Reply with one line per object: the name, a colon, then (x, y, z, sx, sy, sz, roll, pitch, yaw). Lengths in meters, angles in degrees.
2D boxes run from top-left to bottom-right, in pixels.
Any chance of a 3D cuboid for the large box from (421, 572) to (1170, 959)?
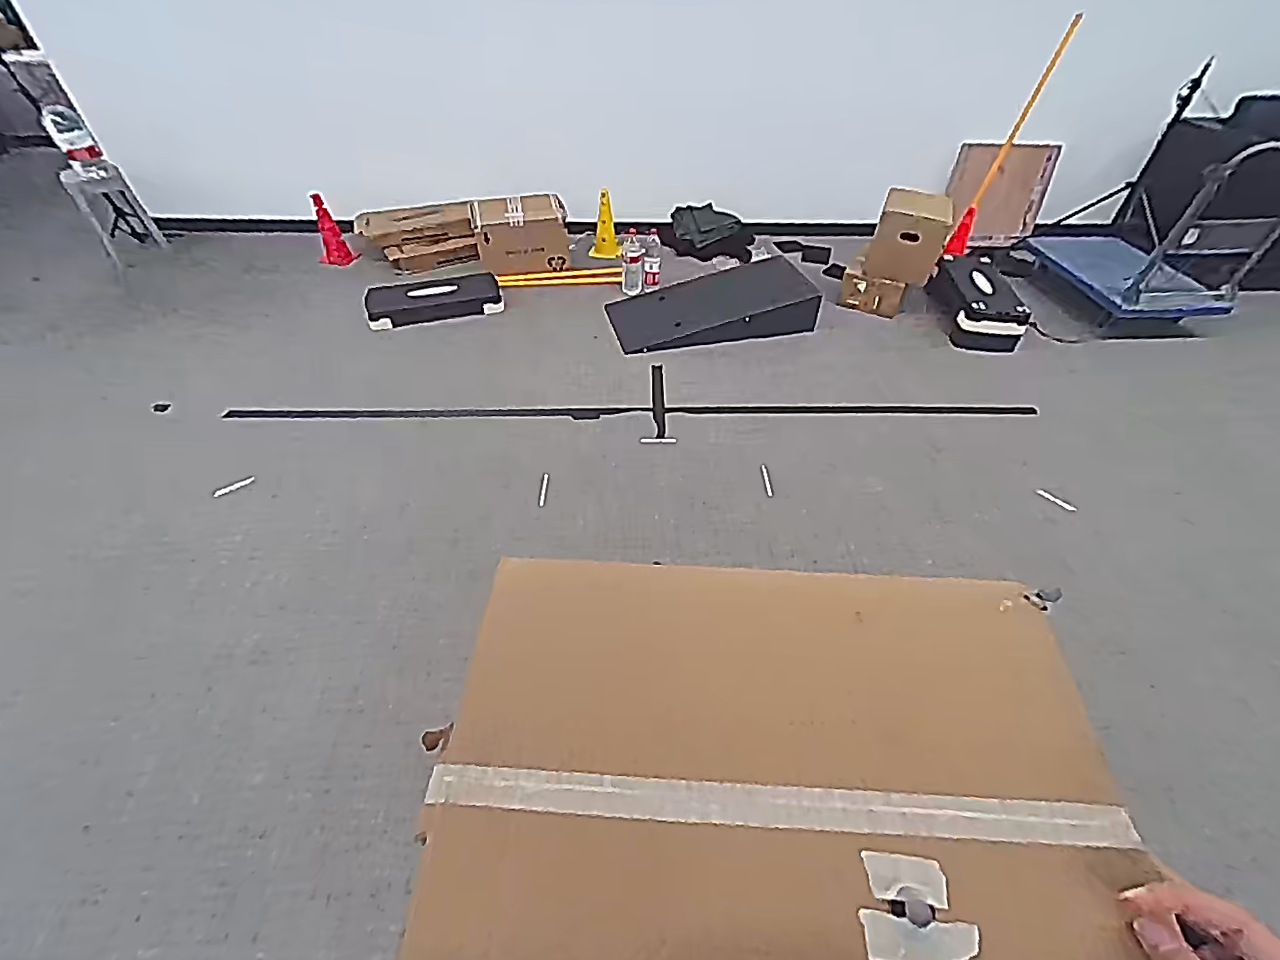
large box: (0.084, 0.289, 0.447, 0.408, 0.320, 0.320, 2, 53, 2)
